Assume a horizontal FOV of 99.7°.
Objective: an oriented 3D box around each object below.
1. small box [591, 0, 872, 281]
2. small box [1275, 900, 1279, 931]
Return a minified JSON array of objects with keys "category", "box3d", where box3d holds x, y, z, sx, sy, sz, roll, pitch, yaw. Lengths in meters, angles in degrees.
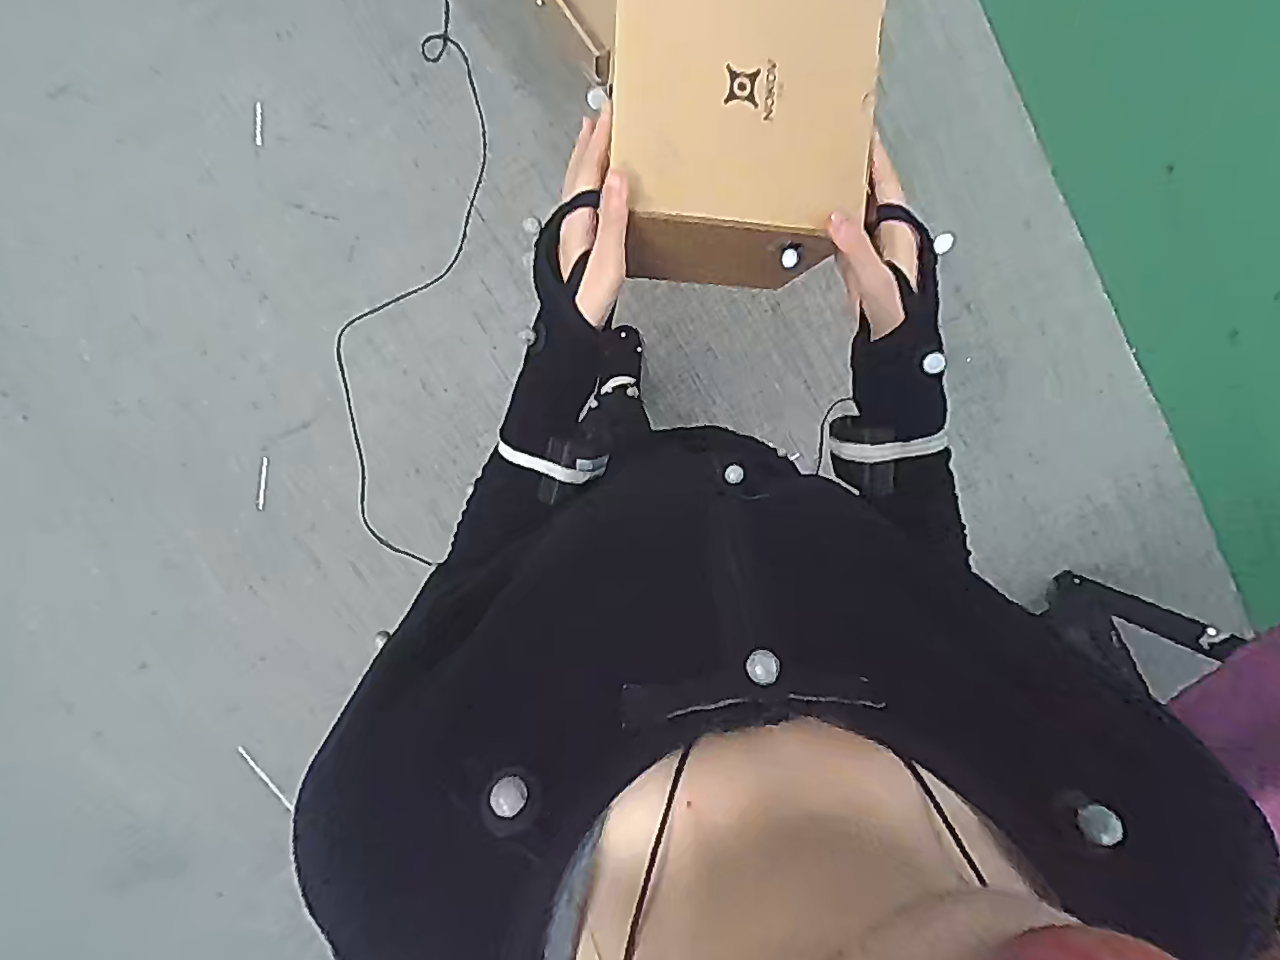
[{"category":"small box","box3d":[0.053,-0.264,0.426,0.179,0.176,0.168,2,97,-8]},{"category":"small box","box3d":[1.194,0.771,0.862,0.179,0.176,0.168,-35,100,4]}]
